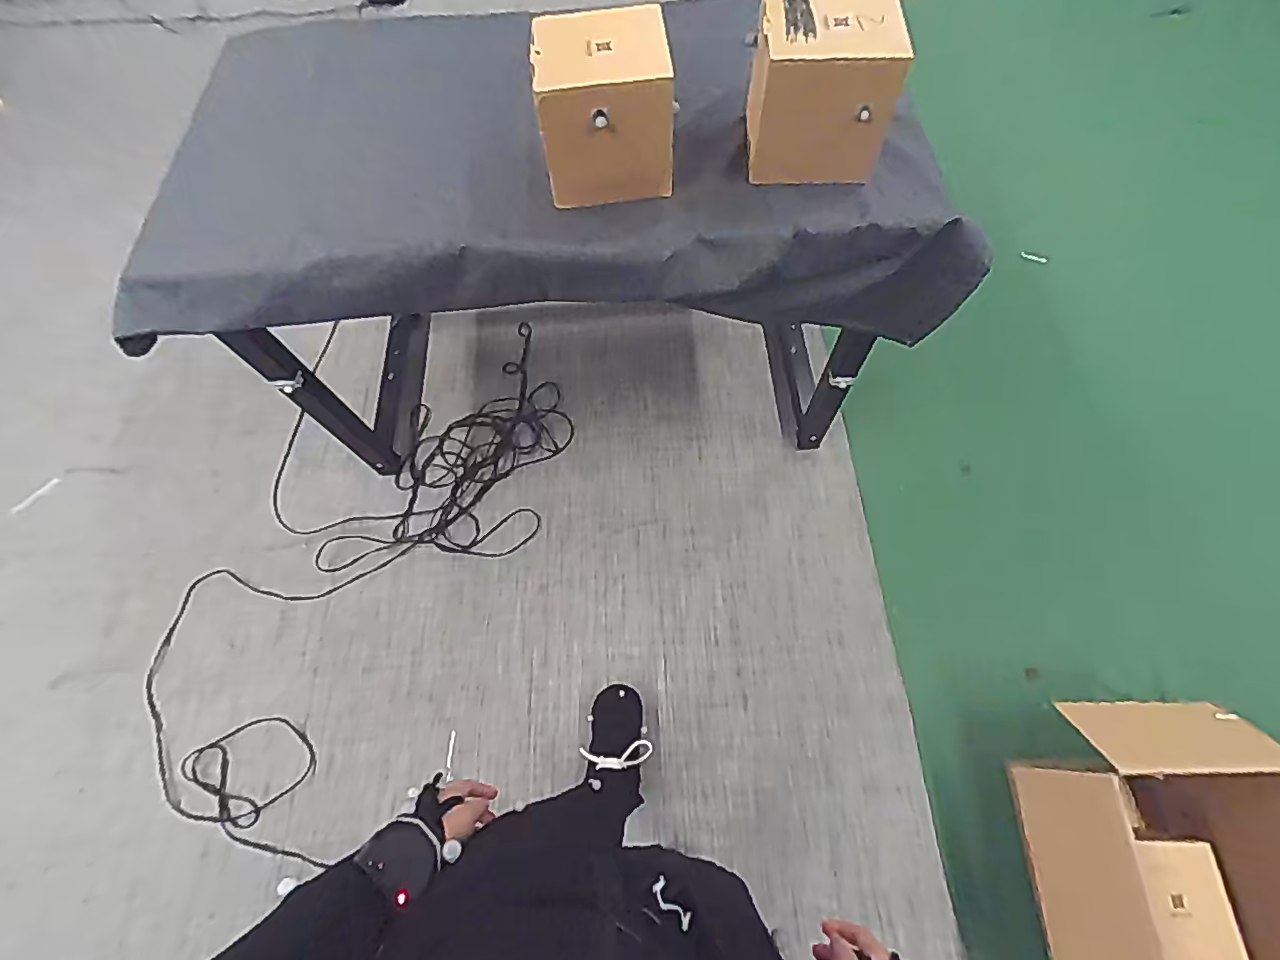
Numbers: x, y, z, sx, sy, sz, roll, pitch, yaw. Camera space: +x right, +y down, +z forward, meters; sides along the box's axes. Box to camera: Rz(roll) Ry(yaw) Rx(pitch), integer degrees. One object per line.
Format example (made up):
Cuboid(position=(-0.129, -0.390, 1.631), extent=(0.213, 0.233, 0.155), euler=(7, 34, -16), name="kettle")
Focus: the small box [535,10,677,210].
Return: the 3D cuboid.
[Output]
Cuboid(position=(-0.045, -0.515, 0.767), extent=(0.179, 0.176, 0.168), euler=(-6, 65, 1), name="small box")
